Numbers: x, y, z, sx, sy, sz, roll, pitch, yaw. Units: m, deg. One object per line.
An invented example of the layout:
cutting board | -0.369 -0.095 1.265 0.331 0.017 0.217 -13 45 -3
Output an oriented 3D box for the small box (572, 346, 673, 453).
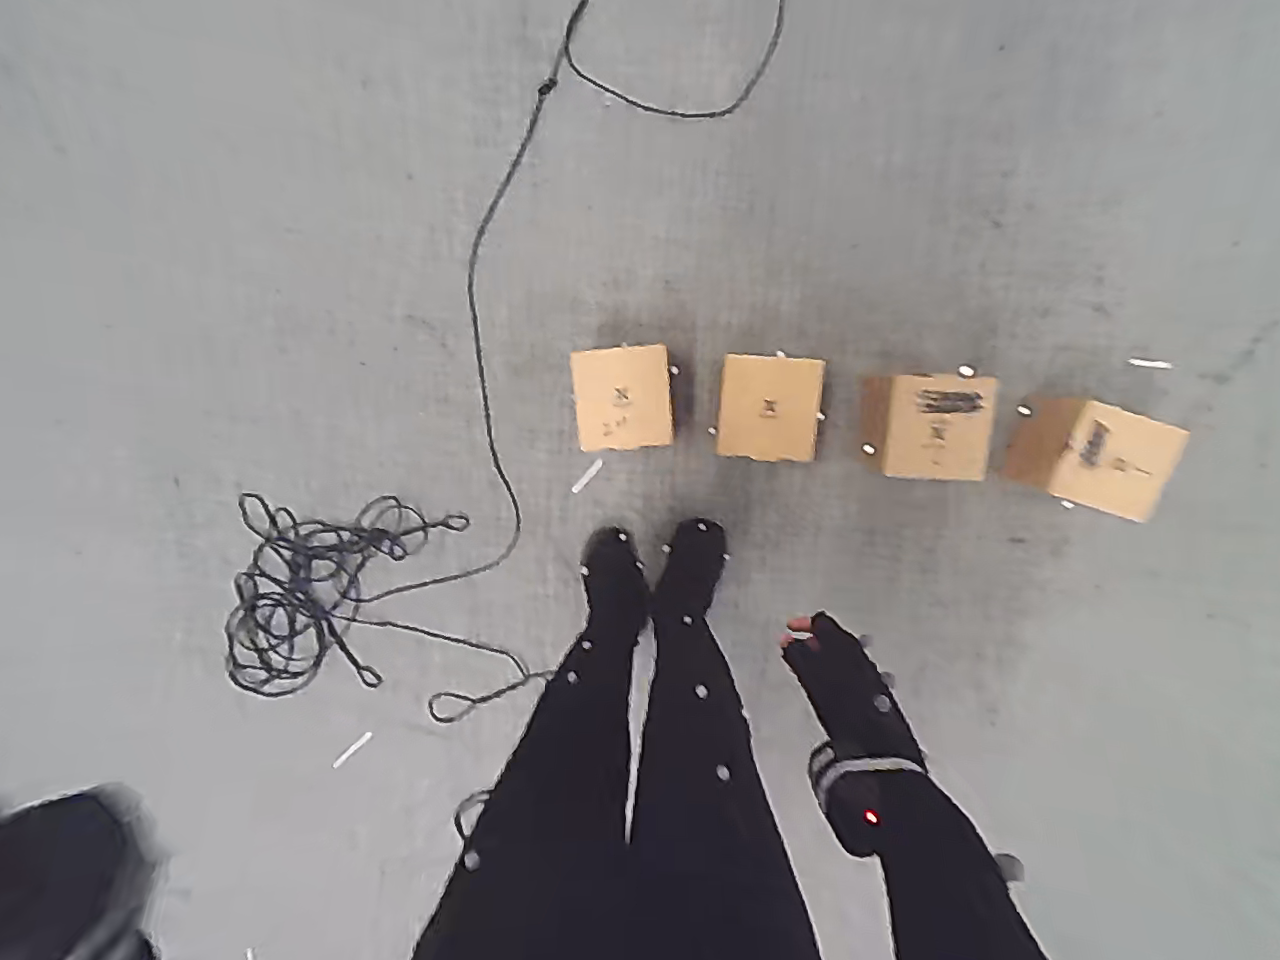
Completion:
small box | -0.026 -0.151 1.021 0.168 0.176 0.179 -4 100 6

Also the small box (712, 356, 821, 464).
small box | 0.225 -0.133 1.007 0.168 0.176 0.179 4 101 4

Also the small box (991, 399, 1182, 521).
small box | 0.788 -0.044 0.979 0.179 0.176 0.168 18 101 0
